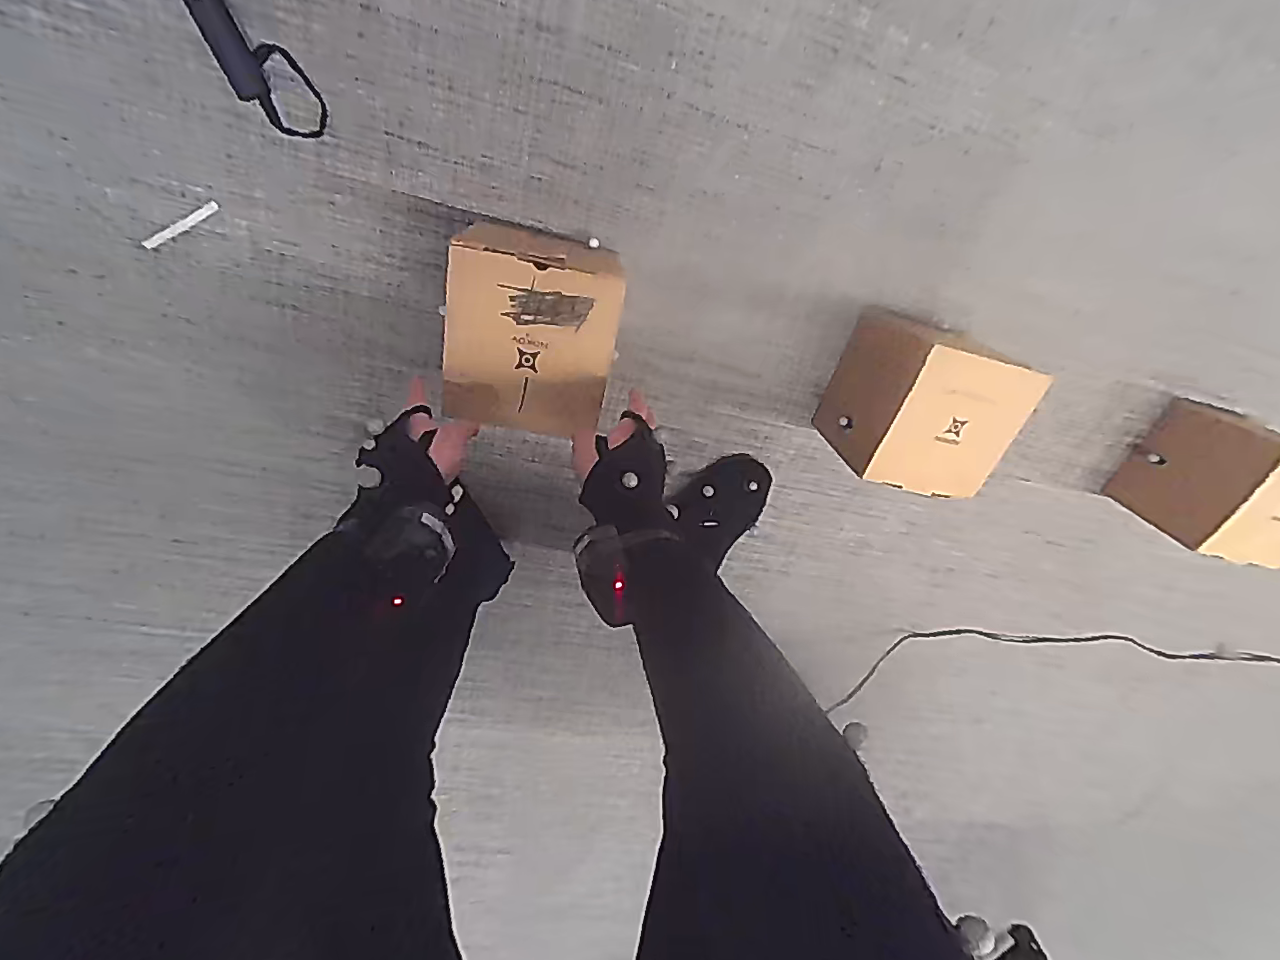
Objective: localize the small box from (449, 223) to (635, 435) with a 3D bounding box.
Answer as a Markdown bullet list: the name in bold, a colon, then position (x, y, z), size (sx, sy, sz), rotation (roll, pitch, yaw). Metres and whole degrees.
- **small box**: position (-0.110, -0.177, 0.614), size (0.168, 0.176, 0.179), rotation (10, 120, -11)

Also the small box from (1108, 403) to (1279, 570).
- **small box**: position (0.883, 0.007, 0.828), size (0.168, 0.176, 0.179), rotation (12, 119, -12)

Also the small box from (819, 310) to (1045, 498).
- **small box**: position (0.360, -0.103, 0.712), size (0.168, 0.176, 0.179), rotation (10, 118, -13)
